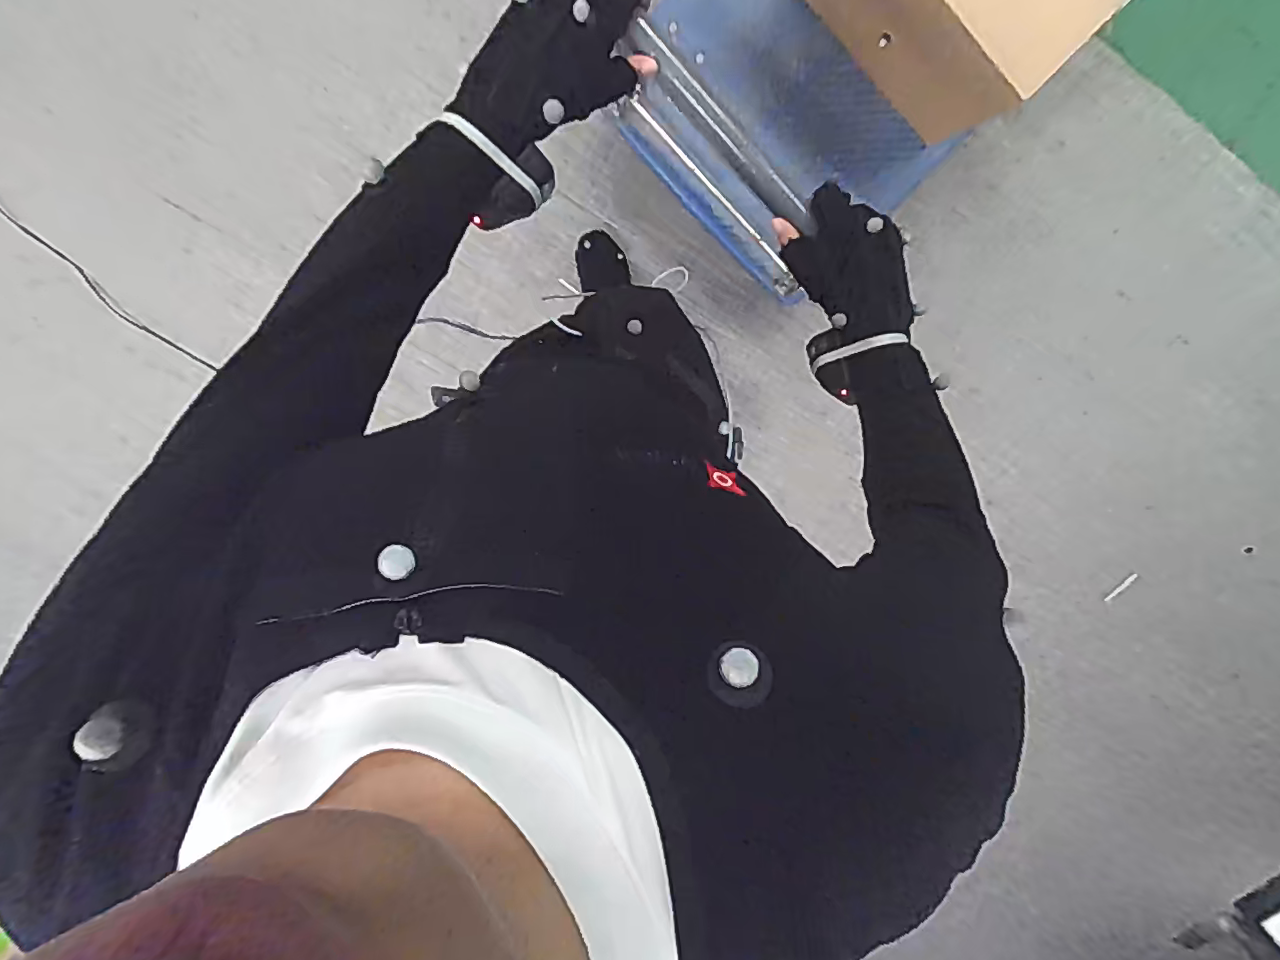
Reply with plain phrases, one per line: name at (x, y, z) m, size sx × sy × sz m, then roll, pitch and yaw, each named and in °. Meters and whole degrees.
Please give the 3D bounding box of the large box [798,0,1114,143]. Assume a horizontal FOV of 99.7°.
large box at (0.491, -0.812, 0.816) m, size 0.408 × 0.320 × 0.320 m, roll 41°, pitch 108°, yaw -11°
